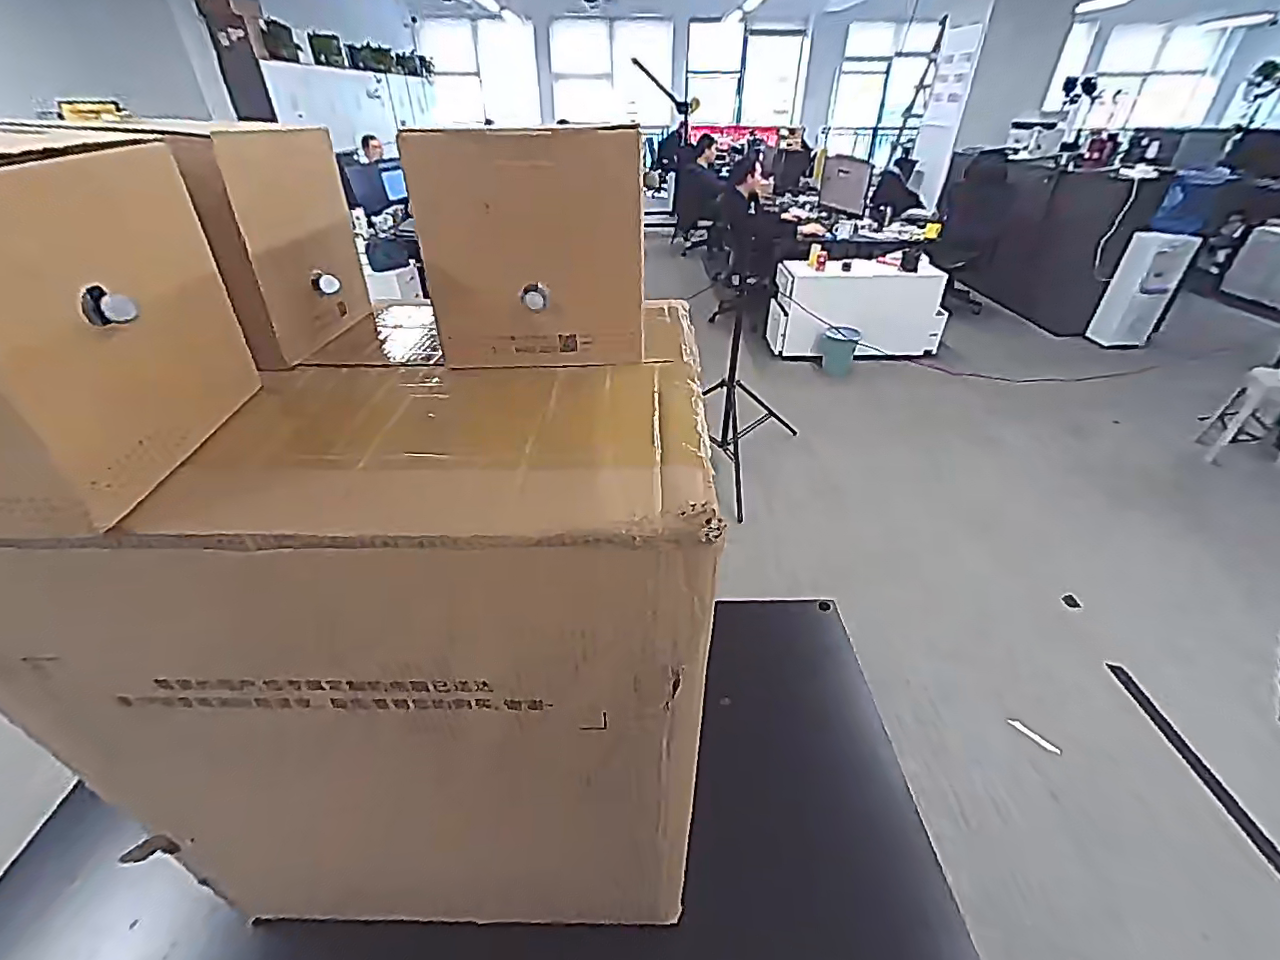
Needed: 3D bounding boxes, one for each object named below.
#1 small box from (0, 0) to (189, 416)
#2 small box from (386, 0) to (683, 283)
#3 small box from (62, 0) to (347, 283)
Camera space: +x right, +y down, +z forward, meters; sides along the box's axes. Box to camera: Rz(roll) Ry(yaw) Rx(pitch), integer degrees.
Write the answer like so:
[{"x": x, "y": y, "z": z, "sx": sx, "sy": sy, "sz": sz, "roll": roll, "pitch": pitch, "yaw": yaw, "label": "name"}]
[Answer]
[{"x": -0.337, "y": -0.125, "z": 0.214, "sx": 0.168, "sy": 0.176, "sz": 0.179, "roll": 0, "pitch": 38, "yaw": -6, "label": "small box"}, {"x": -0.060, "y": -0.250, "z": 0.394, "sx": 0.168, "sy": 0.176, "sz": 0.179, "roll": -2, "pitch": 33, "yaw": -1, "label": "small box"}, {"x": -0.347, "y": -0.243, "z": 0.382, "sx": 0.179, "sy": 0.176, "sz": 0.168, "roll": 2, "pitch": 34, "yaw": -1, "label": "small box"}]
